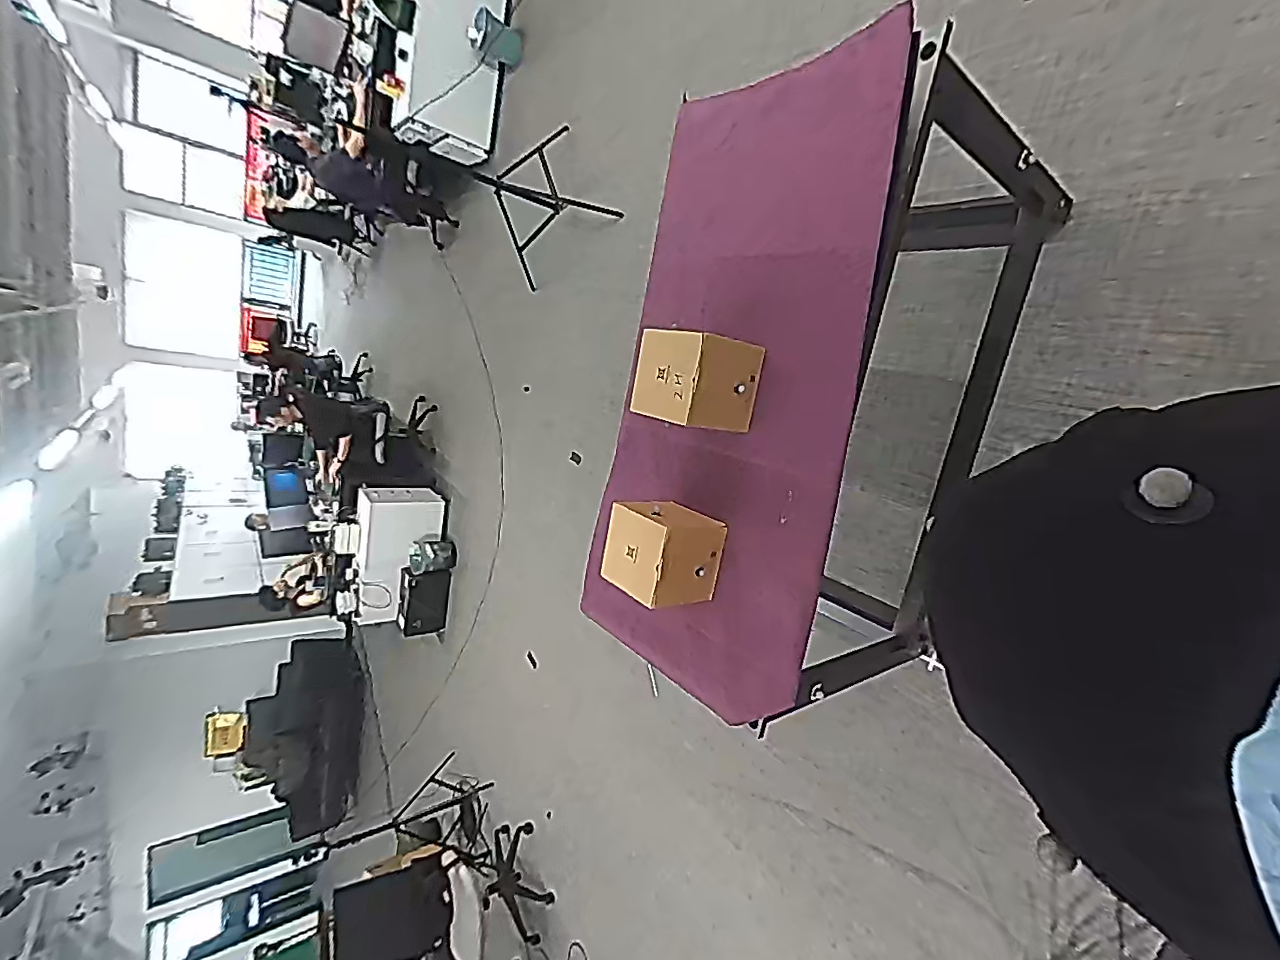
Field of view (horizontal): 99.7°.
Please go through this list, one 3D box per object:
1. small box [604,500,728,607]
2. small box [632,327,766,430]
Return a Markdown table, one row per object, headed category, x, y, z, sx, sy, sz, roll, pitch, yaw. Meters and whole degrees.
| category | x | y | z | sx | sy | sz | roll | pitch | yaw |
| --- | --- | --- | --- | --- | --- | --- | --- | --- | --- |
| small box | 0.053 | 0.146 | 1.124 | 0.179 | 0.176 | 0.168 | 22 | 105 | 49 |
| small box | 0.113 | -0.196 | 1.055 | 0.179 | 0.176 | 0.168 | 24 | 108 | 49 |
